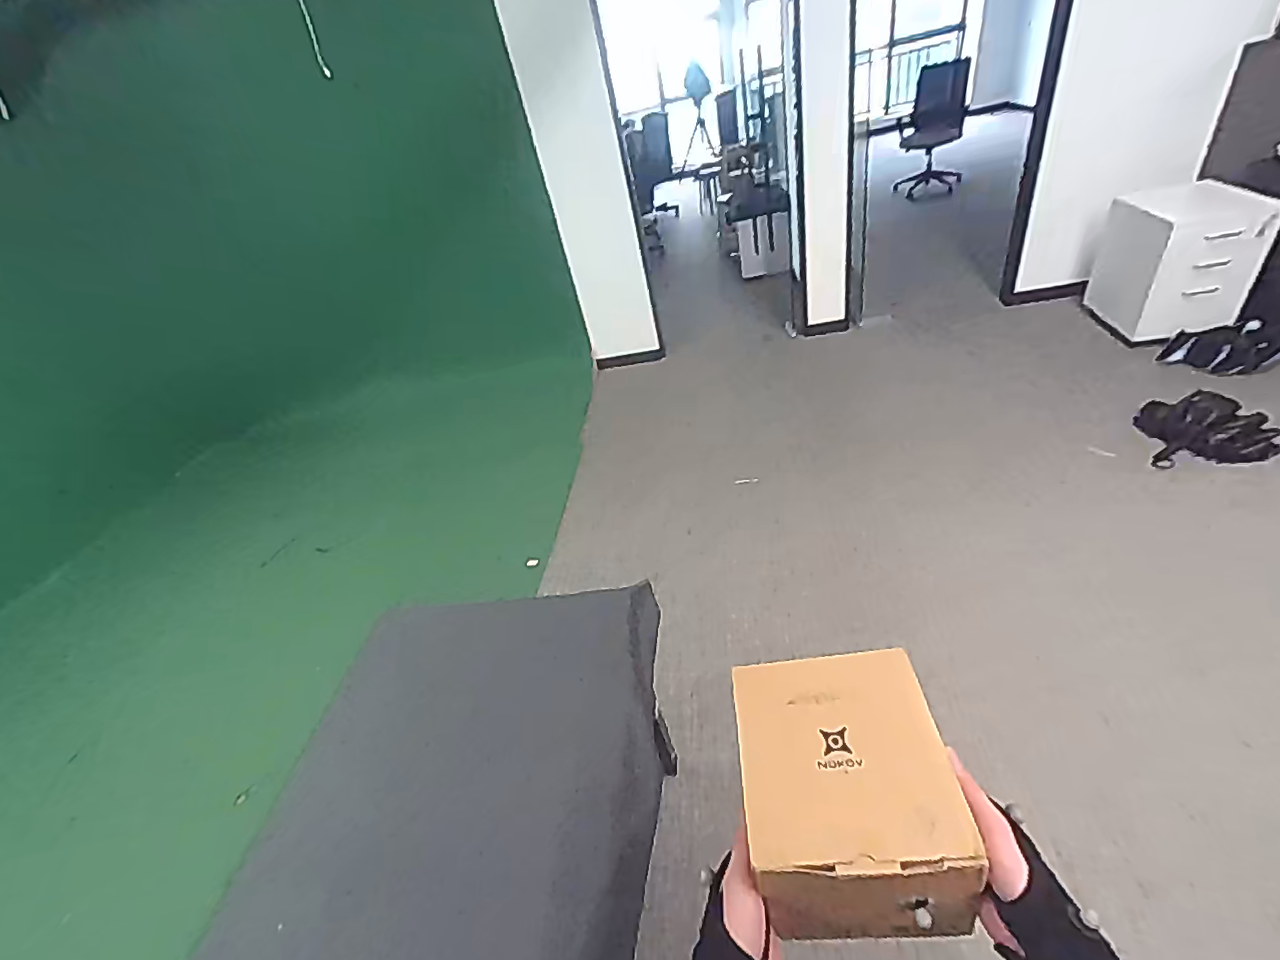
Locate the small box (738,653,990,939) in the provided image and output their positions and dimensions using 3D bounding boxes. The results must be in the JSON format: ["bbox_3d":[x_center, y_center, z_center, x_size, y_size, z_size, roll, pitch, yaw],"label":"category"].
[{"bbox_3d":[0.189,0.289,0.496,0.168,0.176,0.179,-9,33,11],"label":"small box"}]
